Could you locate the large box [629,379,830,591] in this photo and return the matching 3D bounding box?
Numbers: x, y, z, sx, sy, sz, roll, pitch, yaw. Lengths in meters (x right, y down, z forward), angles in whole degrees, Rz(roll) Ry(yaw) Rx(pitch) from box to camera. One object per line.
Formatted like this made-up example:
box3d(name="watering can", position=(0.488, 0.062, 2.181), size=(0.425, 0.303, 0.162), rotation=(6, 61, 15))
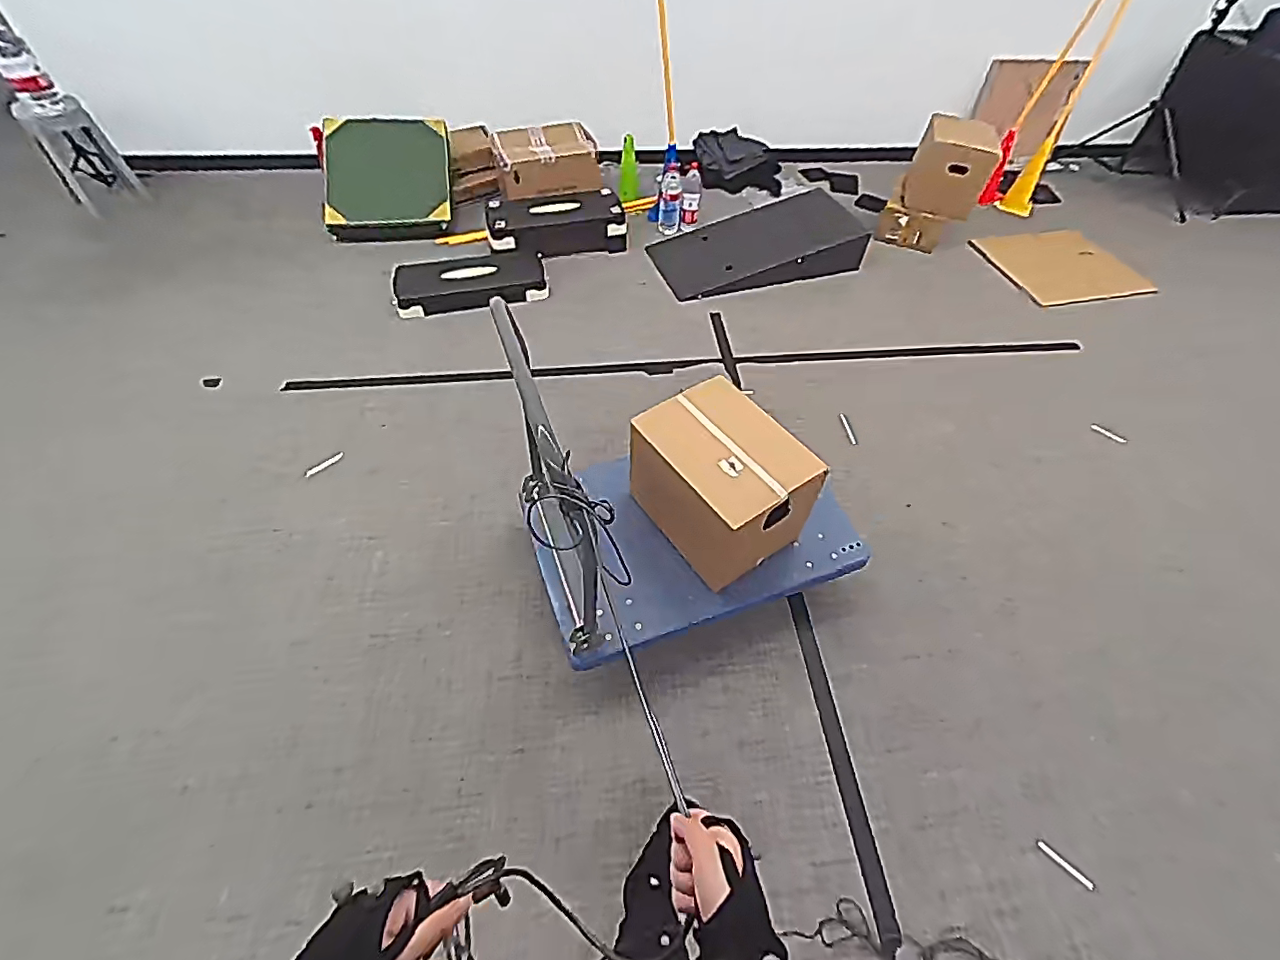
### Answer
box3d(name="large box", position=(0.208, 0.008, 1.439), size=(0.320, 0.320, 0.408), rotation=(-29, 60, -21))
